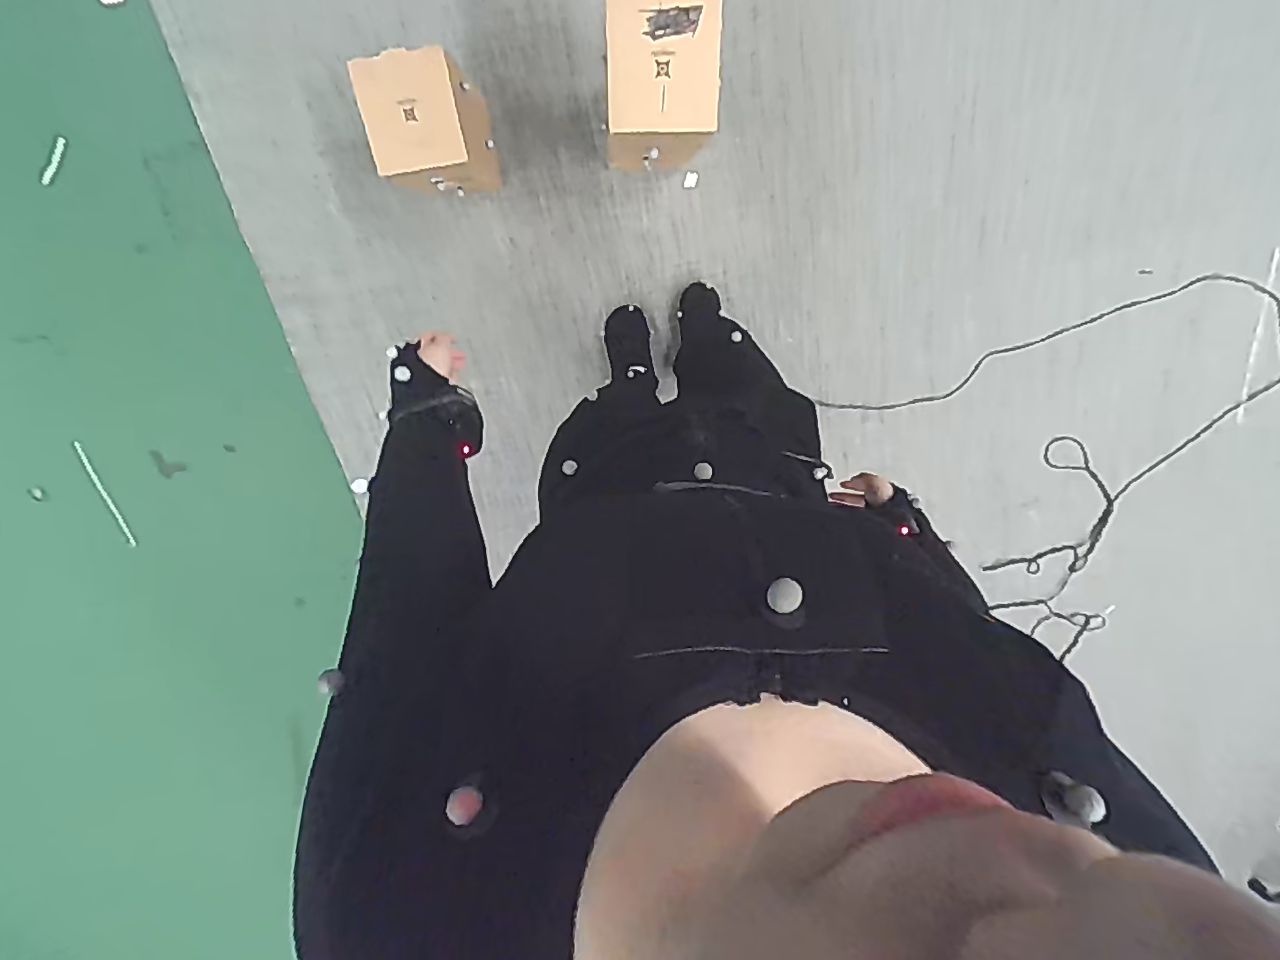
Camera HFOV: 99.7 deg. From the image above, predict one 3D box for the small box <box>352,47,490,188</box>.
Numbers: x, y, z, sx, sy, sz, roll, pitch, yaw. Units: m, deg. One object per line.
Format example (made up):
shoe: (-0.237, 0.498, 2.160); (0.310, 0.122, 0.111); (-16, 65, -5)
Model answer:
small box: (-0.394, -0.662, 1.007); (0.168, 0.176, 0.179); (-9, 113, 2)

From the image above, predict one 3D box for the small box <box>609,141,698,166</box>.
small box: (0.023, -0.701, 1.008); (0.168, 0.176, 0.179); (-3, 113, -1)

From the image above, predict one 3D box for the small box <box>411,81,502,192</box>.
small box: (-0.403, -0.724, 1.157); (0.168, 0.176, 0.179); (-6, 113, 0)

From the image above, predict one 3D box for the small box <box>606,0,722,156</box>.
small box: (0.030, -0.631, 0.860); (0.168, 0.176, 0.179); (-1, 114, -2)
